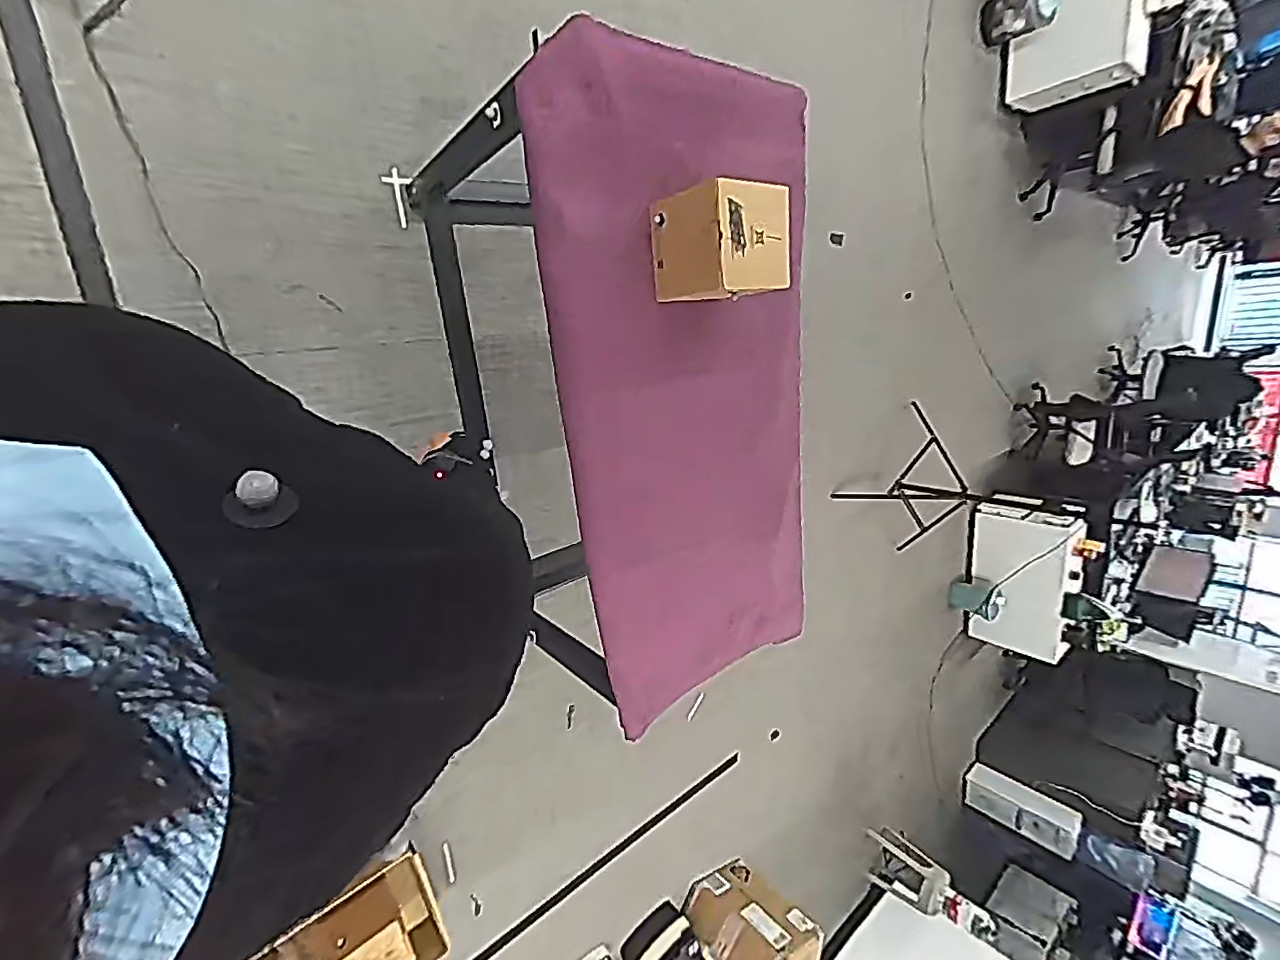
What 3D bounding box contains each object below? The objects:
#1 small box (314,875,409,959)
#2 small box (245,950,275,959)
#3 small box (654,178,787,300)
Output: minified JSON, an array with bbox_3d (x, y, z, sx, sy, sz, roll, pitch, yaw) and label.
[{"bbox_3d":[-0.743,1.217,1.434,0.179,0.176,0.168,-23,113,-33],"label":"small box"},{"bbox_3d":[-0.944,1.294,1.289,0.168,0.176,0.179,-22,111,-36],"label":"small box"},{"bbox_3d":[0.137,-0.413,0.952,0.179,0.176,0.168,-16,109,-36],"label":"small box"}]
